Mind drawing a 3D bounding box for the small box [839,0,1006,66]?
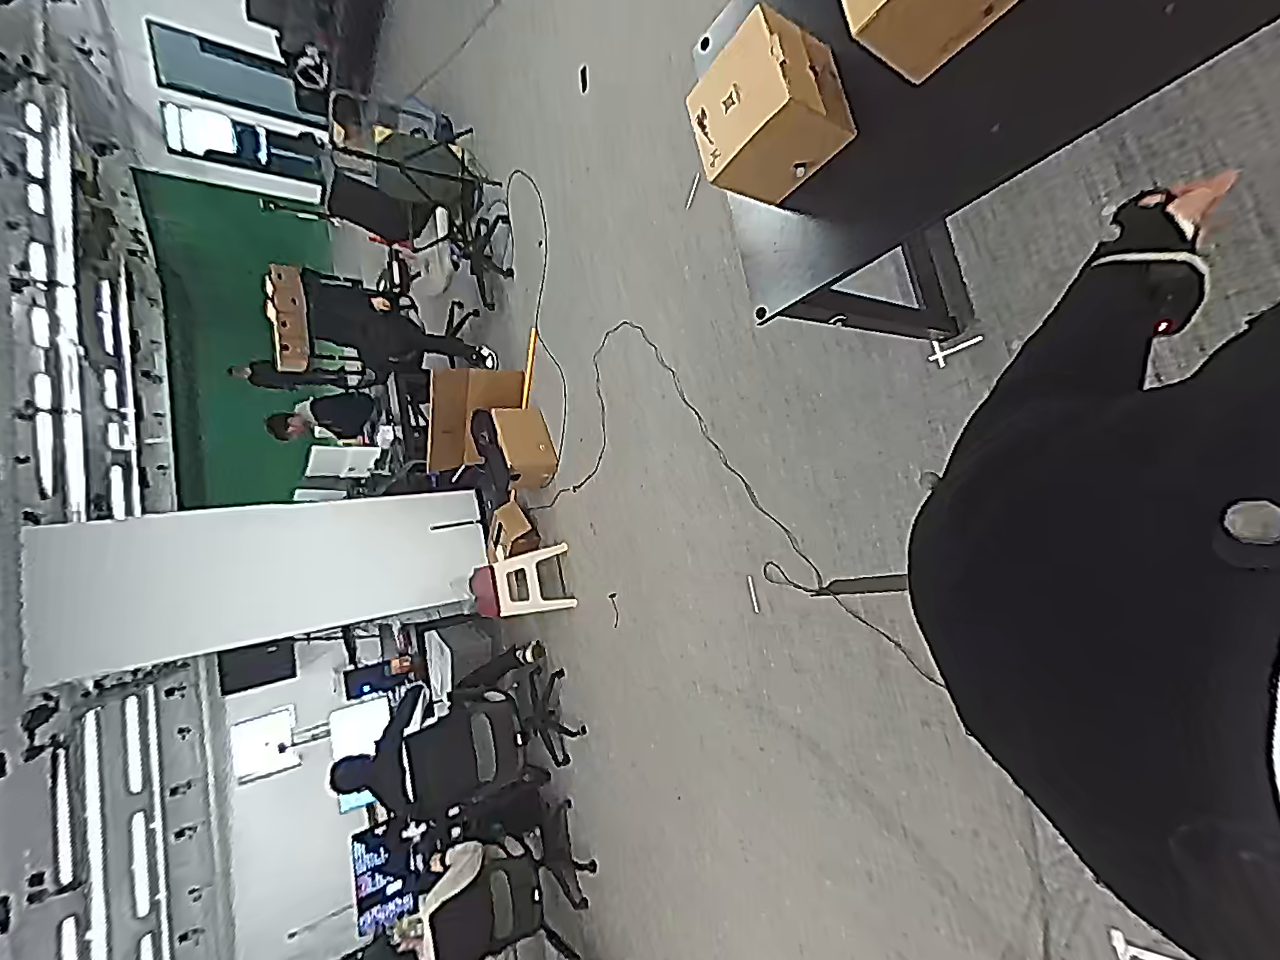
[{"bbox_3d":[0.352,-0.657,0.661,0.168,0.176,0.179,-22,76,51],"label":"small box"}]

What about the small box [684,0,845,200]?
[{"bbox_3d":[0.203,-0.589,0.866,0.179,0.176,0.168,-24,75,51],"label":"small box"}]
